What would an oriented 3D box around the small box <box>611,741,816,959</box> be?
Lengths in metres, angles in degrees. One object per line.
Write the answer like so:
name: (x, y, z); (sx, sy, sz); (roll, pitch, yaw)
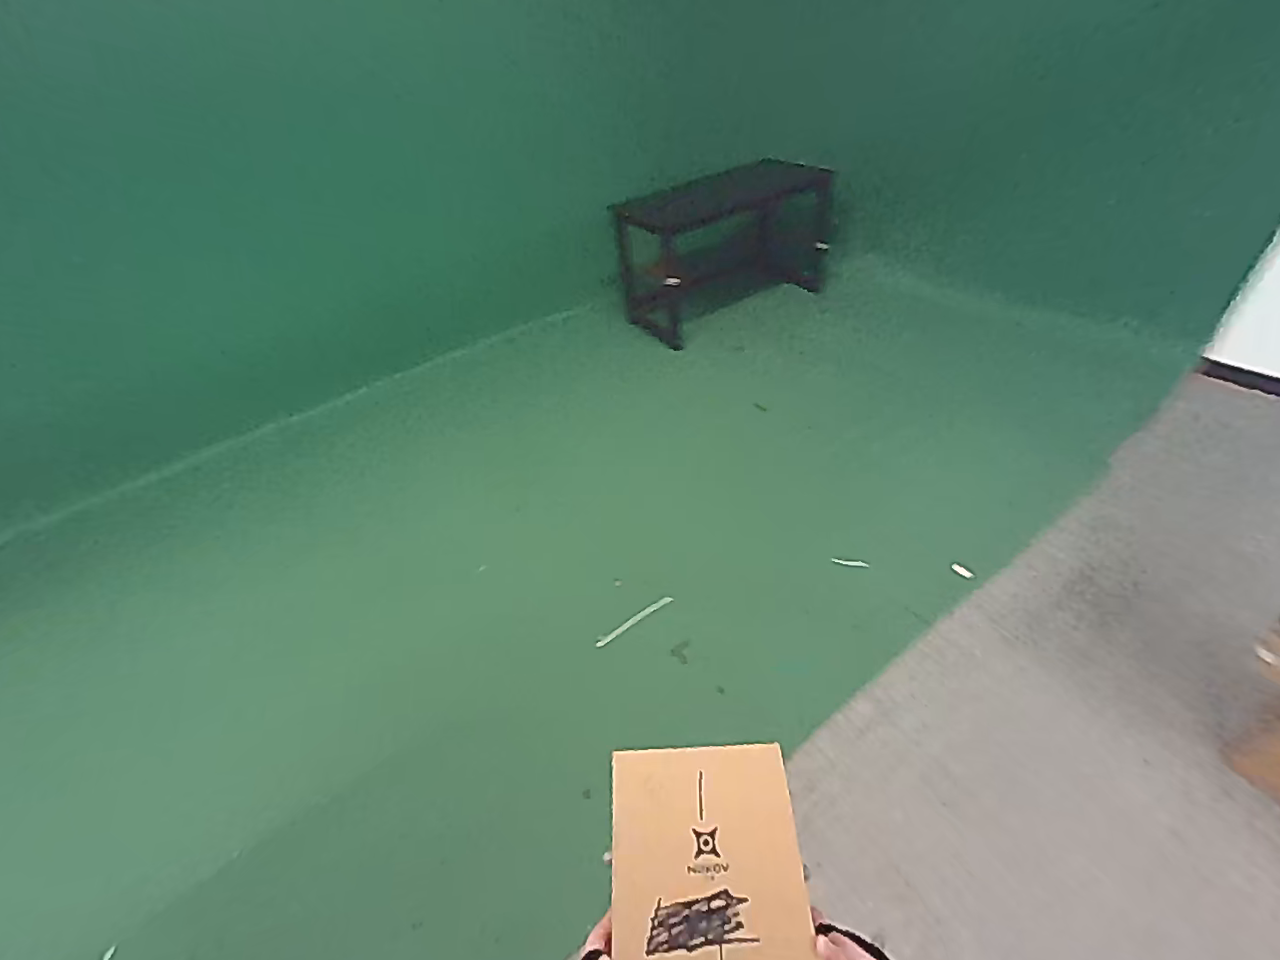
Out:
small box: (0.063, 0.374, 0.535); (0.168, 0.176, 0.179); (-2, 49, 1)
